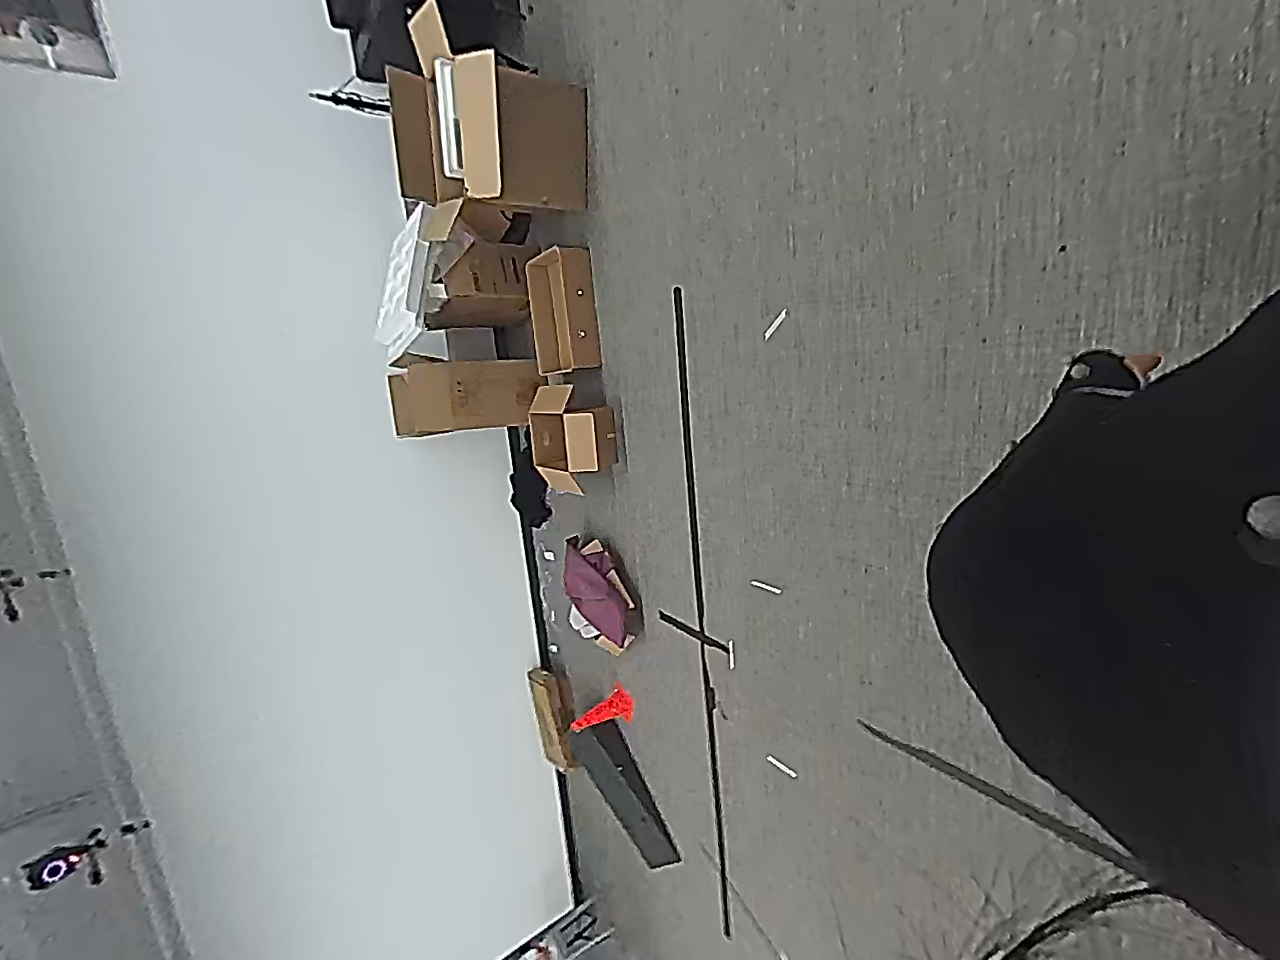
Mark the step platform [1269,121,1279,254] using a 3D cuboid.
[{"bbox_3d":[1.092,-0.397,0.477,0.684,0.204,0.286,8,107,54],"label":"step platform"}]
